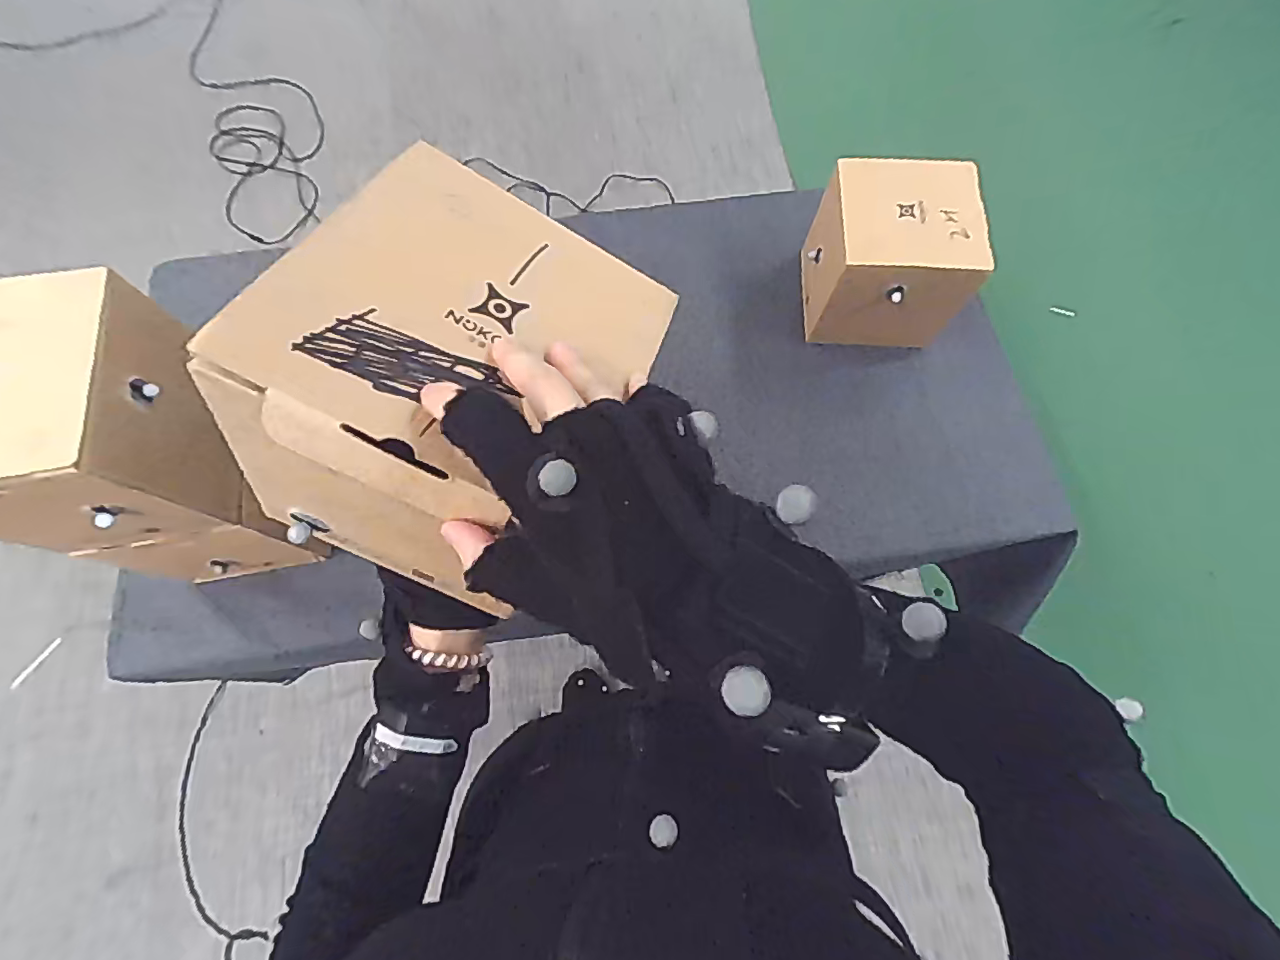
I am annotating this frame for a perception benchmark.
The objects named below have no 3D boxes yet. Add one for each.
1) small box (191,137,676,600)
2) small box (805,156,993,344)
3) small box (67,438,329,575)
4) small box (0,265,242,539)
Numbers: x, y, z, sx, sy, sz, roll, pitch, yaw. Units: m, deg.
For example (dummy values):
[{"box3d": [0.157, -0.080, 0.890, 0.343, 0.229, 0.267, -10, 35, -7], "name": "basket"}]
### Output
[{"box3d": [-0.104, -0.048, 0.327, 0.168, 0.176, 0.179, 27, 57, -12], "name": "small box"}, {"box3d": [0.328, -0.300, 0.729, 0.179, 0.176, 0.168, 3, 72, 1], "name": "small box"}, {"box3d": [-0.484, 0.000, 0.625, 0.168, 0.176, 0.179, -10, 72, -4], "name": "small box"}, {"box3d": [-0.482, -0.052, 0.470, 0.168, 0.176, 0.179, -8, 71, -5], "name": "small box"}]
